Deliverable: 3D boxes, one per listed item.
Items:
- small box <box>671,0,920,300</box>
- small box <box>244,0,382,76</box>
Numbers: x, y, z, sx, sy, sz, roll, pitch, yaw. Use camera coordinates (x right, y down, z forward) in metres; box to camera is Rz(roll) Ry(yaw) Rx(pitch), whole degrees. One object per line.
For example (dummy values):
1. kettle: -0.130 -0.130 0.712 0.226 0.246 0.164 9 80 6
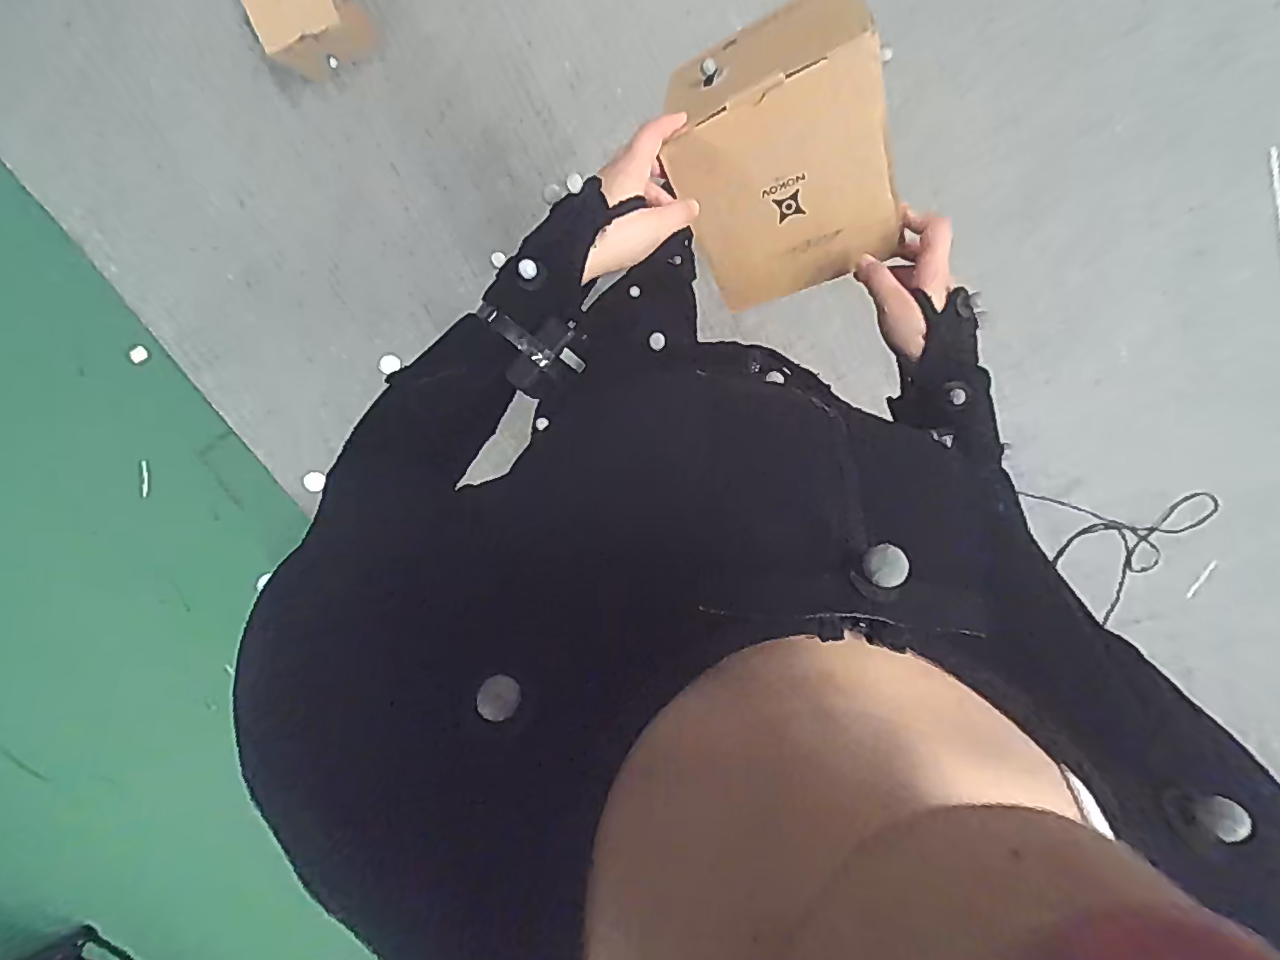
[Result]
1. small box: 0.141 -0.306 0.491 0.168 0.176 0.179 -13 140 27
2. small box: -0.649 -0.934 1.066 0.168 0.176 0.179 -16 112 8
